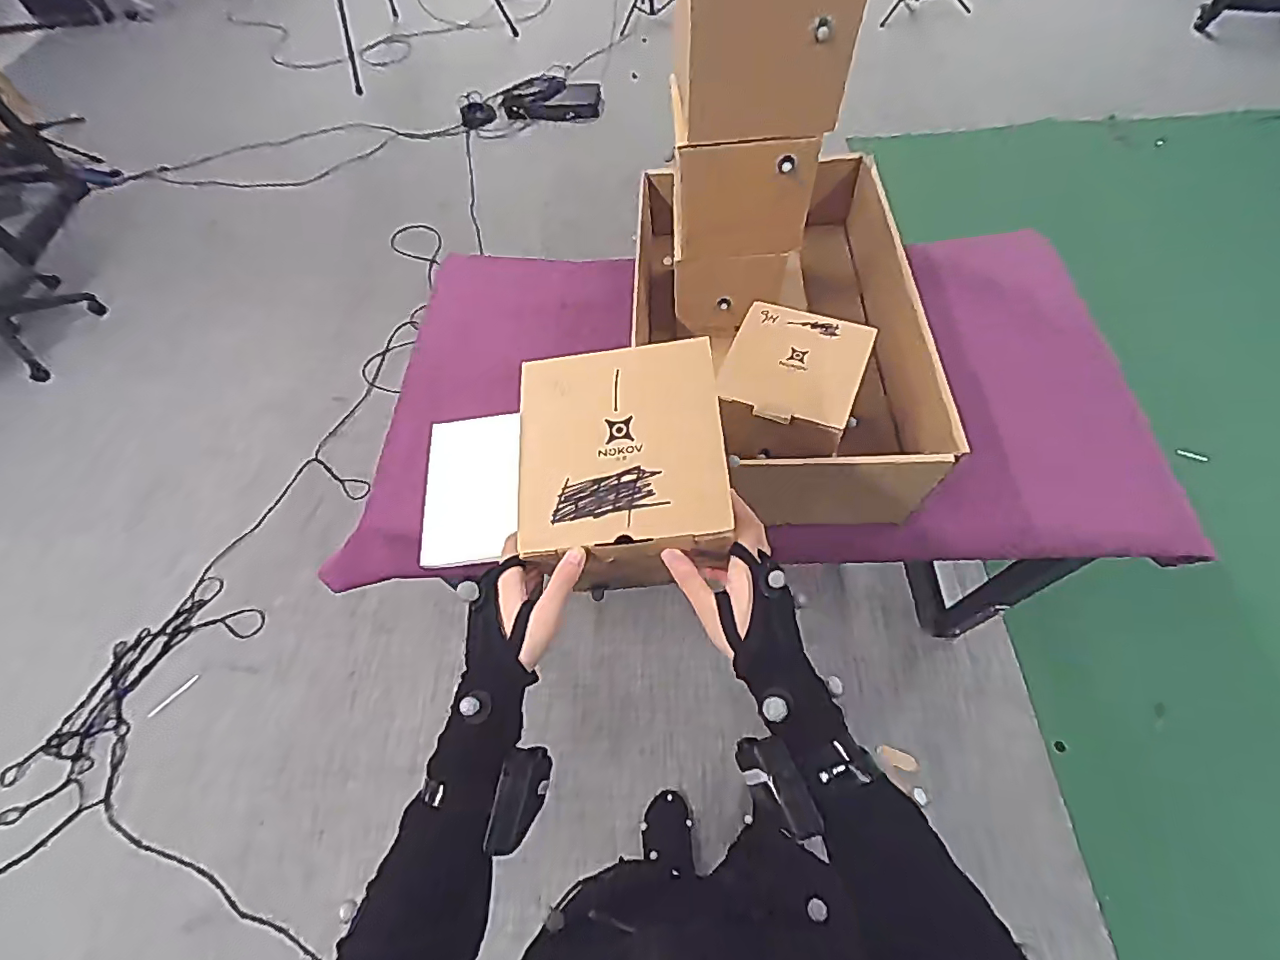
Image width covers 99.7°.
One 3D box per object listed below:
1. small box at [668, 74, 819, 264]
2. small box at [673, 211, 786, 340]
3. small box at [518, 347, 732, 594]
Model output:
[{"bbox_3d":[0.133,-0.422,0.752,0.179,0.176,0.168,-3,61,3],"label":"small box"},{"bbox_3d":[0.141,-0.346,0.894,0.168,0.176,0.179,-1,62,5],"label":"small box"},{"bbox_3d":[-0.004,0.006,0.506,0.168,0.176,0.179,-6,66,7],"label":"small box"}]
